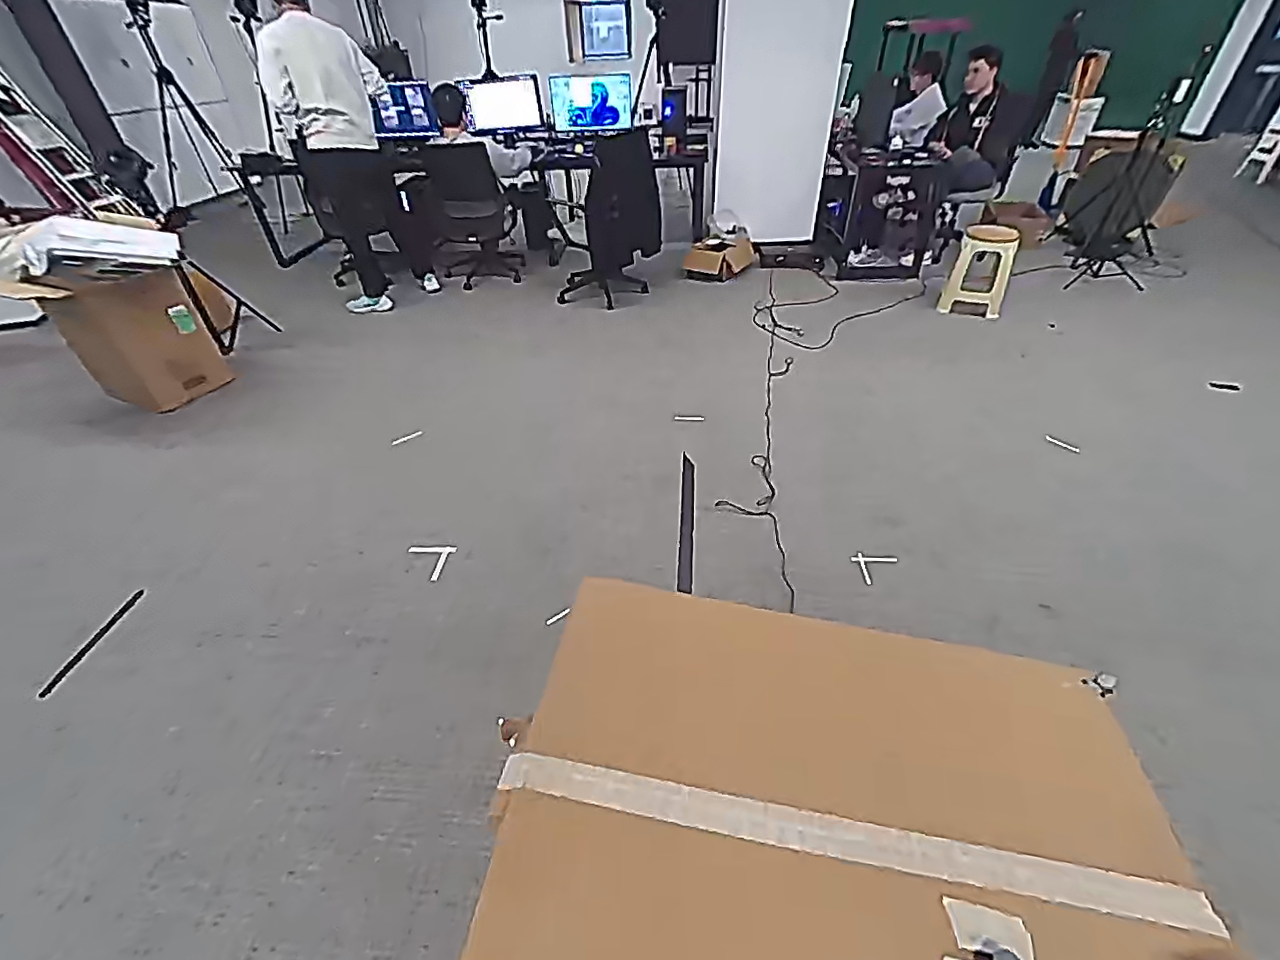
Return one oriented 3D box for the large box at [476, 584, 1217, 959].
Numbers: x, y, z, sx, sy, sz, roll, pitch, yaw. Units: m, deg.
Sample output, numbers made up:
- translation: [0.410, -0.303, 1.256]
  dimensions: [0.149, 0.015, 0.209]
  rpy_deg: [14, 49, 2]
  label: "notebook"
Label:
- translation: [0.109, 0.328, 0.424]
  dimensions: [0.408, 0.320, 0.320]
  rpy_deg: [11, 41, 3]
  label: "large box"
